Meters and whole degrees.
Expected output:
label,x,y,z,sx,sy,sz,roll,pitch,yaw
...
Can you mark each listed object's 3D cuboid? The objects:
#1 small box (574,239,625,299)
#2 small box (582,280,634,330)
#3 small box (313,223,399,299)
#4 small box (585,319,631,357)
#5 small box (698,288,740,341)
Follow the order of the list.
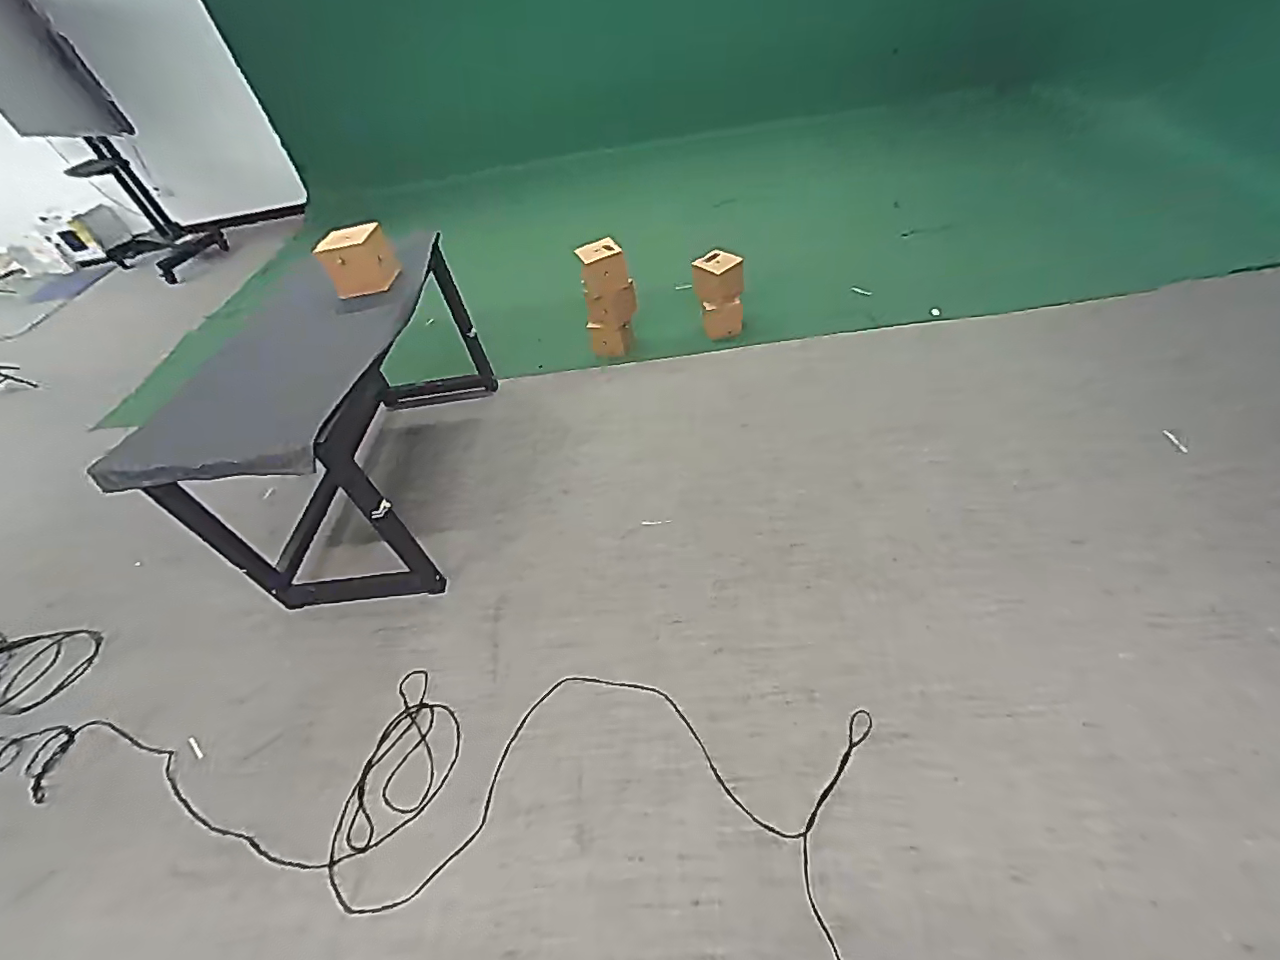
label,x,y,z,sx,sy,sz,roll,pitch,yaw
small box,-0.174,-0.940,2.414,0.179,0.176,0.168,-24,49,-9
small box,-0.142,-0.830,2.532,0.168,0.176,0.179,25,56,28
small box,-0.952,-0.739,1.832,0.179,0.176,0.168,-8,47,7
small box,-0.149,-0.722,2.657,0.168,0.176,0.179,7,49,16
small box,0.380,-0.801,2.623,0.168,0.176,0.179,-13,46,-1
